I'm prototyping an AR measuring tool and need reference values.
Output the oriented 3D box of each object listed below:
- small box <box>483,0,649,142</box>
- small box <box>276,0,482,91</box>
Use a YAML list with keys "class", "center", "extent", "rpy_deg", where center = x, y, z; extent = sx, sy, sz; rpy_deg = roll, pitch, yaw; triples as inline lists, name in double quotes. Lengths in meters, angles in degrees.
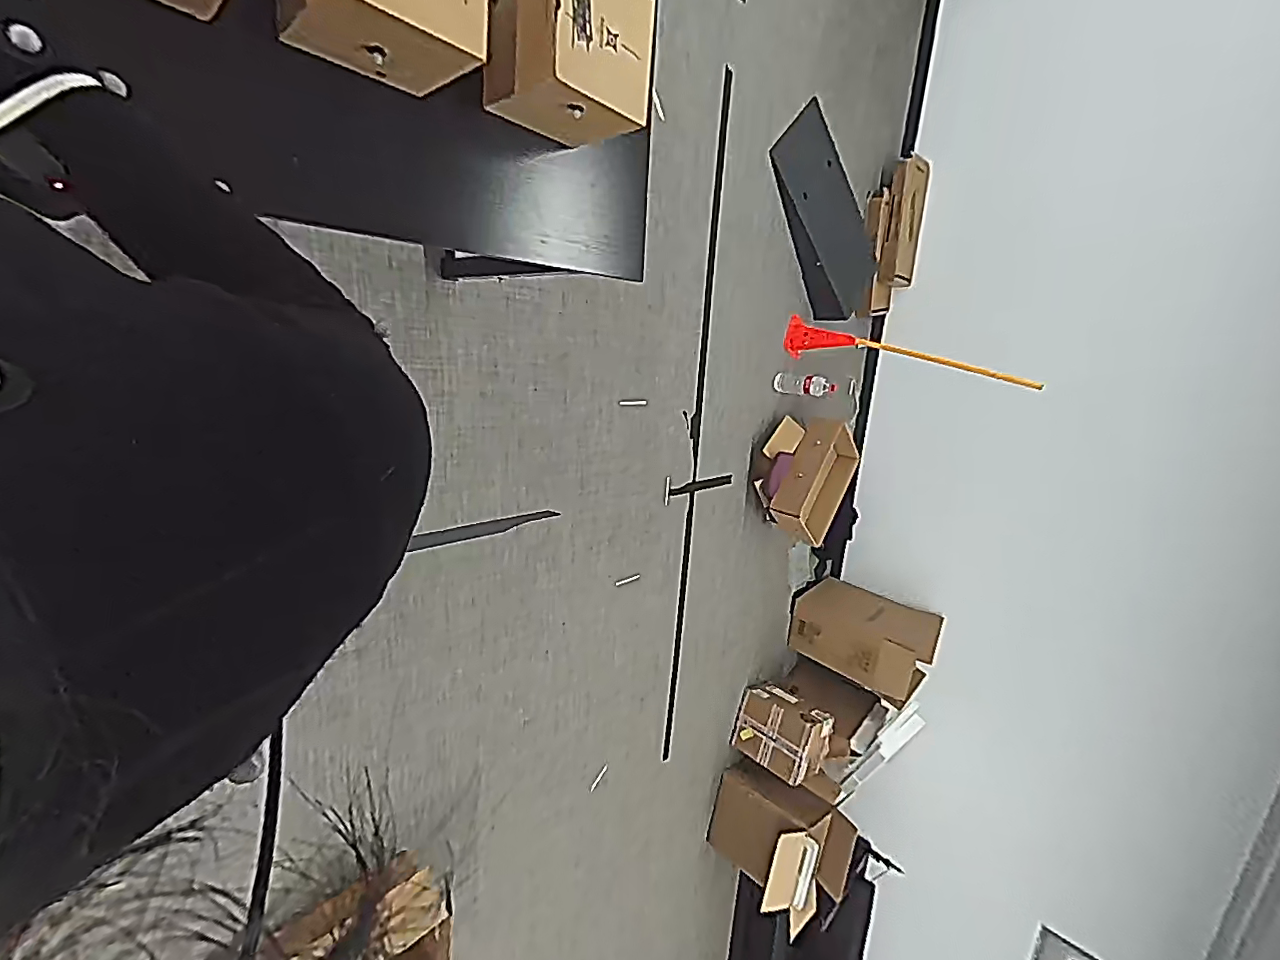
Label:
- class: "small box"
  center: [-0.111, -0.617, 0.784]
  extent: [0.179, 0.176, 0.168]
  rpy_deg: [-9, 109, -47]
- class: "small box"
  center: [-0.291, -0.573, 0.599]
  extent: [0.168, 0.176, 0.179]
  rpy_deg: [-10, 109, -46]
